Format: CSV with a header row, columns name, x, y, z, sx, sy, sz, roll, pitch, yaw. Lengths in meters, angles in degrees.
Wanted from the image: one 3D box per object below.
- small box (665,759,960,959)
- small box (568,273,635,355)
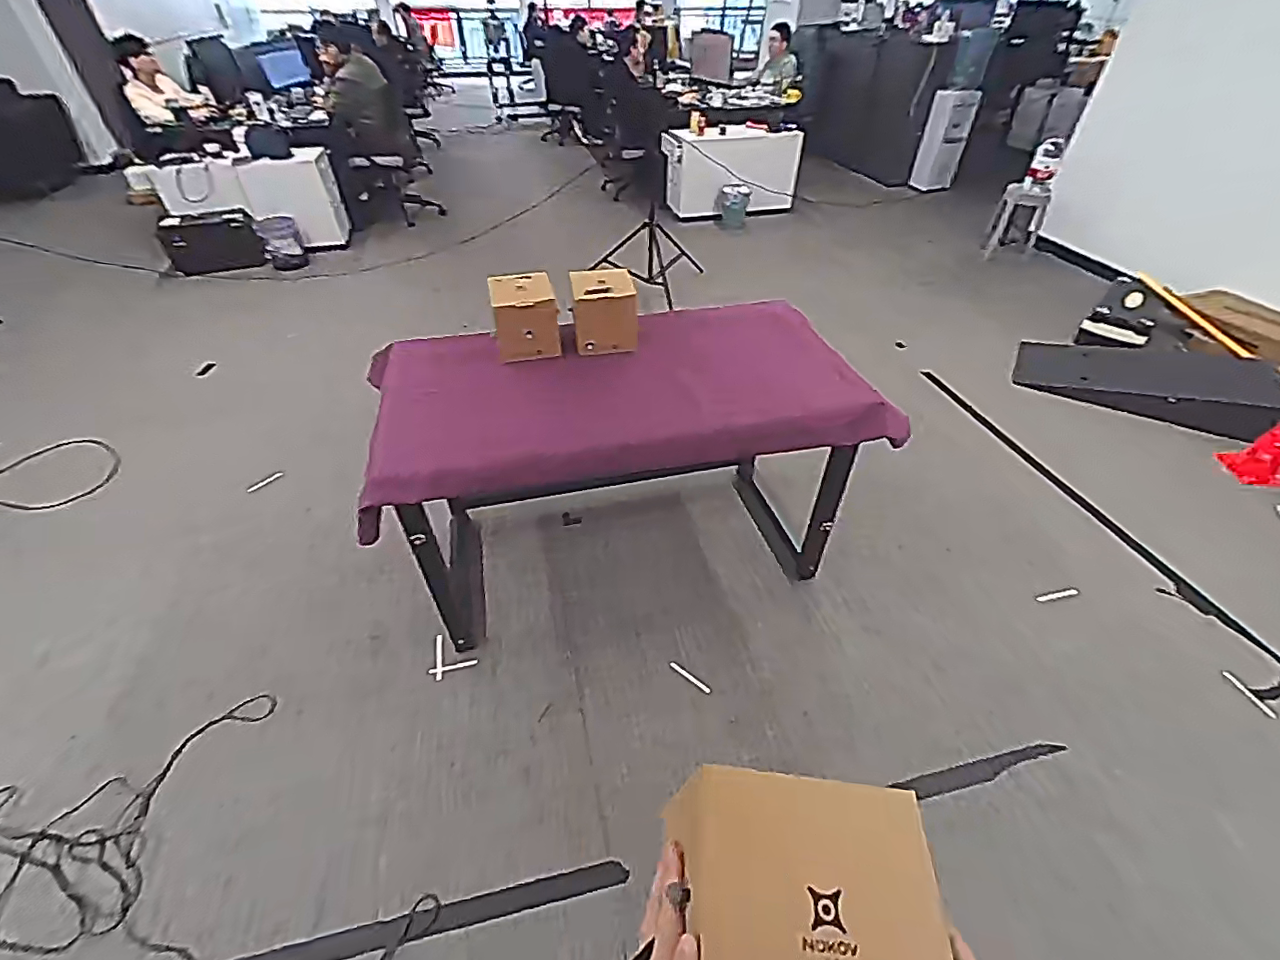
name,x,y,z,sx,sy,sz,roll,pitch,yaw
small box,0.113,0.340,0.408,0.168,0.176,0.179,9,47,-1
small box,-0.107,-0.462,1.521,0.168,0.176,0.179,-7,44,-8
